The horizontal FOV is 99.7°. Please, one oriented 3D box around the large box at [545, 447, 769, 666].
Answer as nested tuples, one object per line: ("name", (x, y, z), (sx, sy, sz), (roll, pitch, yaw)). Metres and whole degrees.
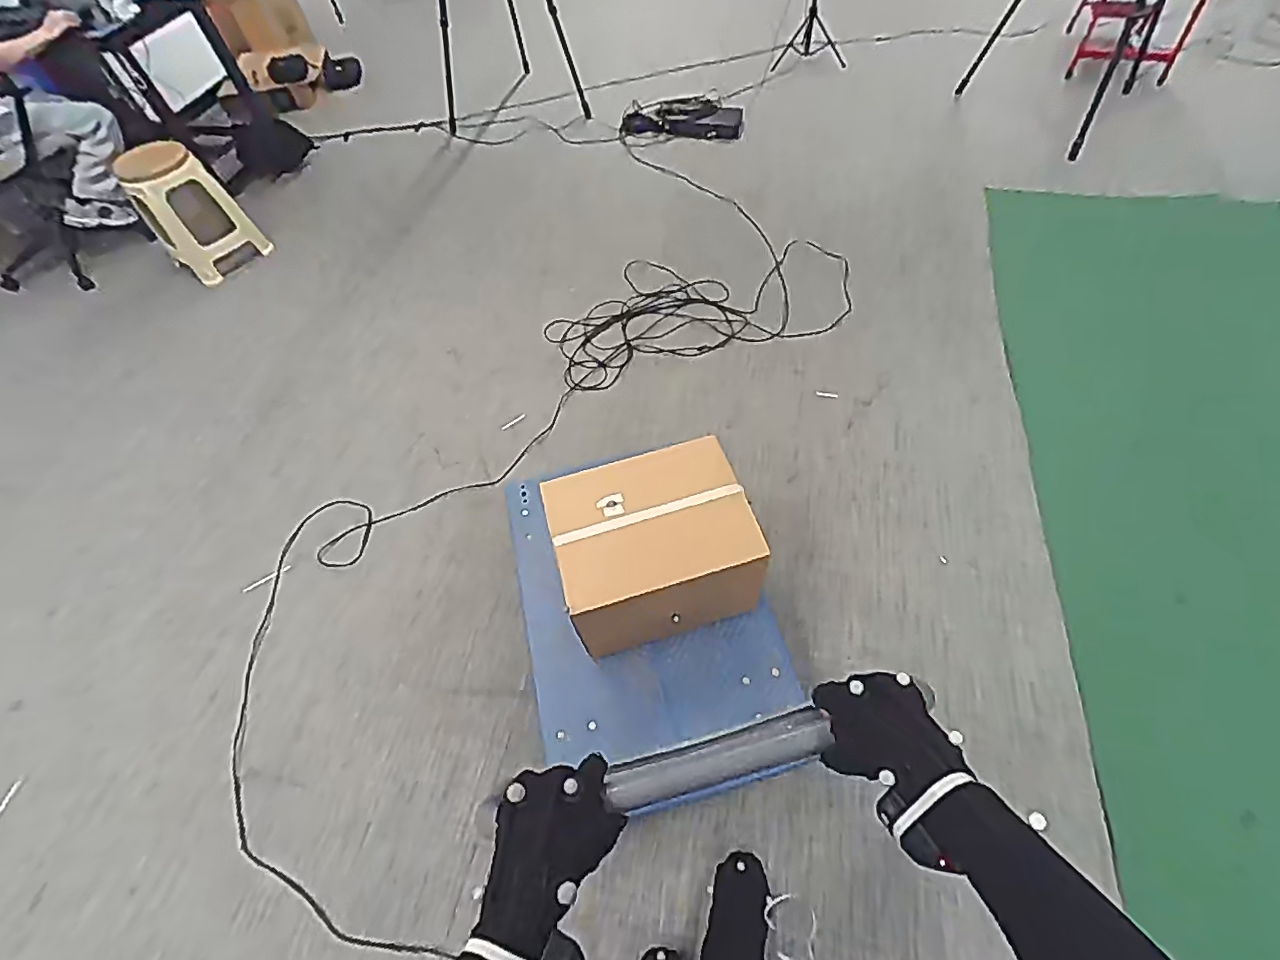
("large box", (0.038, 0.183, 1.241), (0.408, 0.320, 0.320), (-17, 55, -4))
